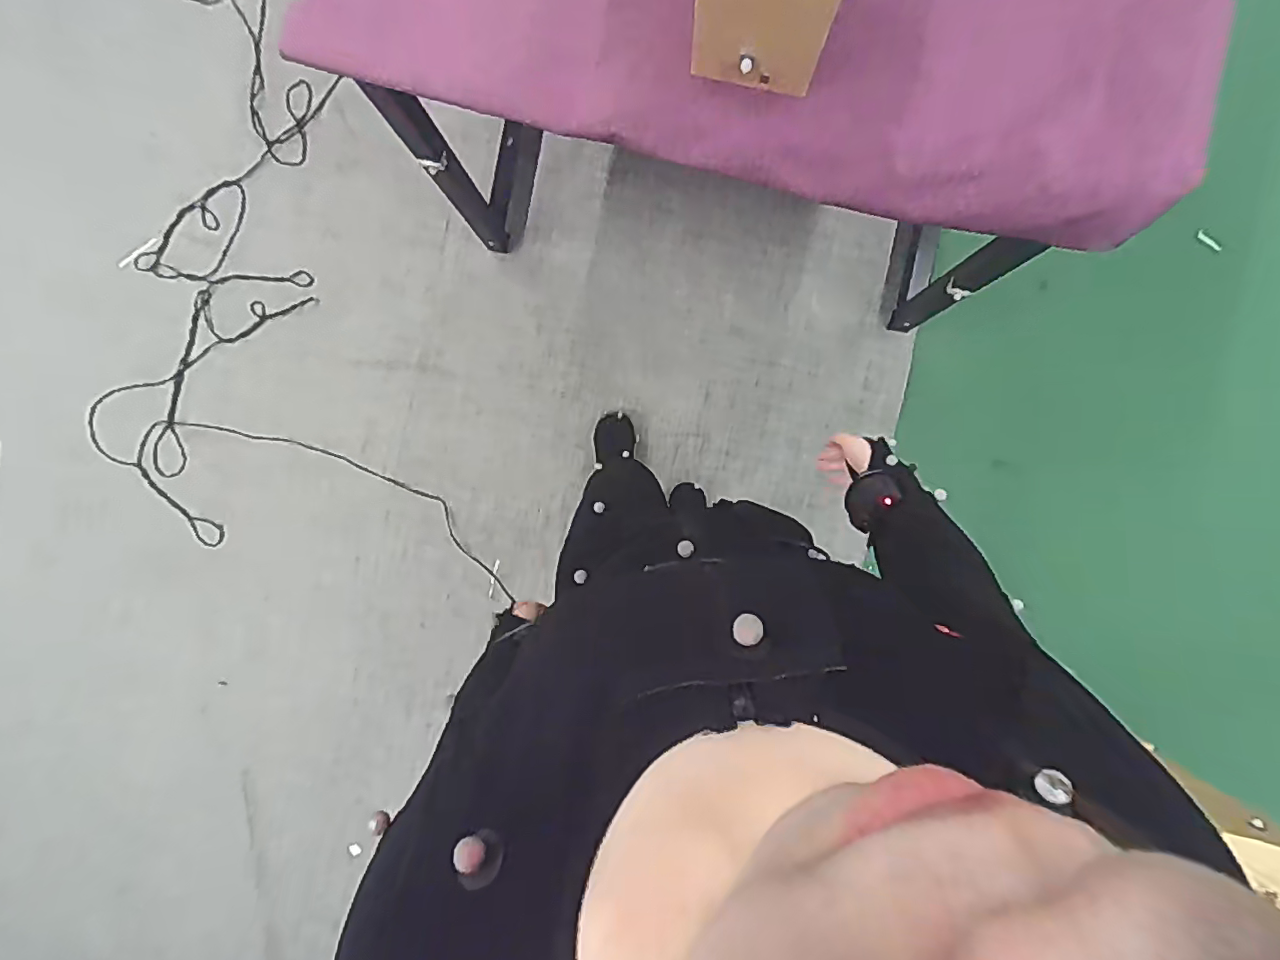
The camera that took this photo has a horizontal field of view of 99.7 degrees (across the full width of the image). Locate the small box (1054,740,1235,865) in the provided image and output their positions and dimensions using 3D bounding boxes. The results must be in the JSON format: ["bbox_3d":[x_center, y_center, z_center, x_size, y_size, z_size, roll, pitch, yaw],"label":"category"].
[{"bbox_3d":[0.973,0.640,1.058,0.179,0.176,0.168,14,92,3],"label":"small box"}]

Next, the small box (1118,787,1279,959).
[{"bbox_3d":[0.962,0.644,0.894,0.179,0.176,0.168,13,91,3],"label":"small box"}]

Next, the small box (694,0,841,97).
[{"bbox_3d":[0.165,-0.629,0.668,0.168,0.176,0.179,14,91,3],"label":"small box"}]
